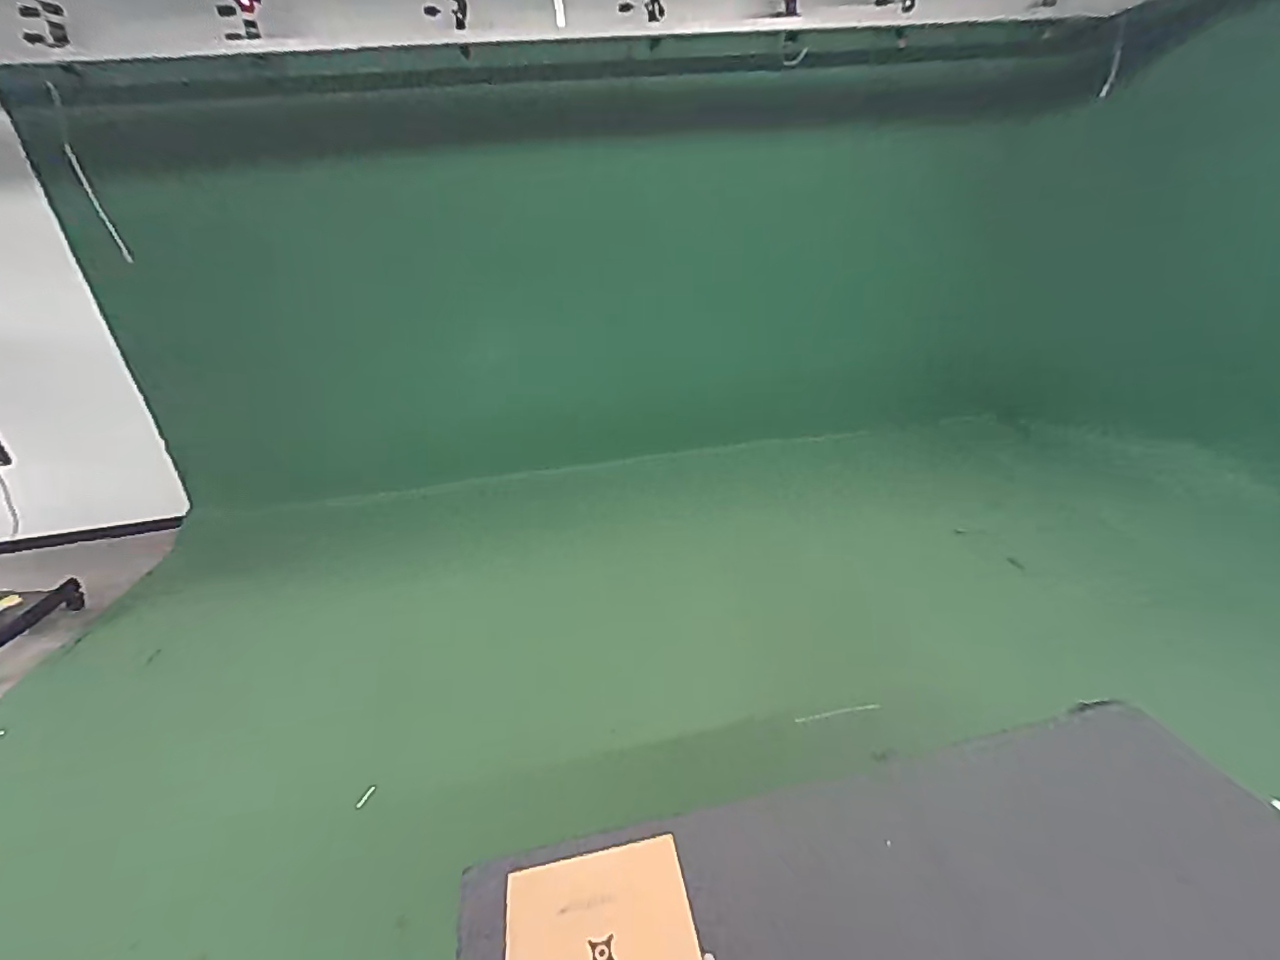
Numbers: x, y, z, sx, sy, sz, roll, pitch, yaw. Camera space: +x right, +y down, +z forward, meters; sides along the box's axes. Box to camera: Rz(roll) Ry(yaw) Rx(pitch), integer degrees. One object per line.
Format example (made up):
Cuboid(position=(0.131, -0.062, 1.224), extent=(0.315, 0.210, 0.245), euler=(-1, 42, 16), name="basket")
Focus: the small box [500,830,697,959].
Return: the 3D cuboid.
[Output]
Cuboid(position=(-0.030, 0.469, 0.487), extent=(0.168, 0.176, 0.179), euler=(-8, 24, -9), name="small box")
